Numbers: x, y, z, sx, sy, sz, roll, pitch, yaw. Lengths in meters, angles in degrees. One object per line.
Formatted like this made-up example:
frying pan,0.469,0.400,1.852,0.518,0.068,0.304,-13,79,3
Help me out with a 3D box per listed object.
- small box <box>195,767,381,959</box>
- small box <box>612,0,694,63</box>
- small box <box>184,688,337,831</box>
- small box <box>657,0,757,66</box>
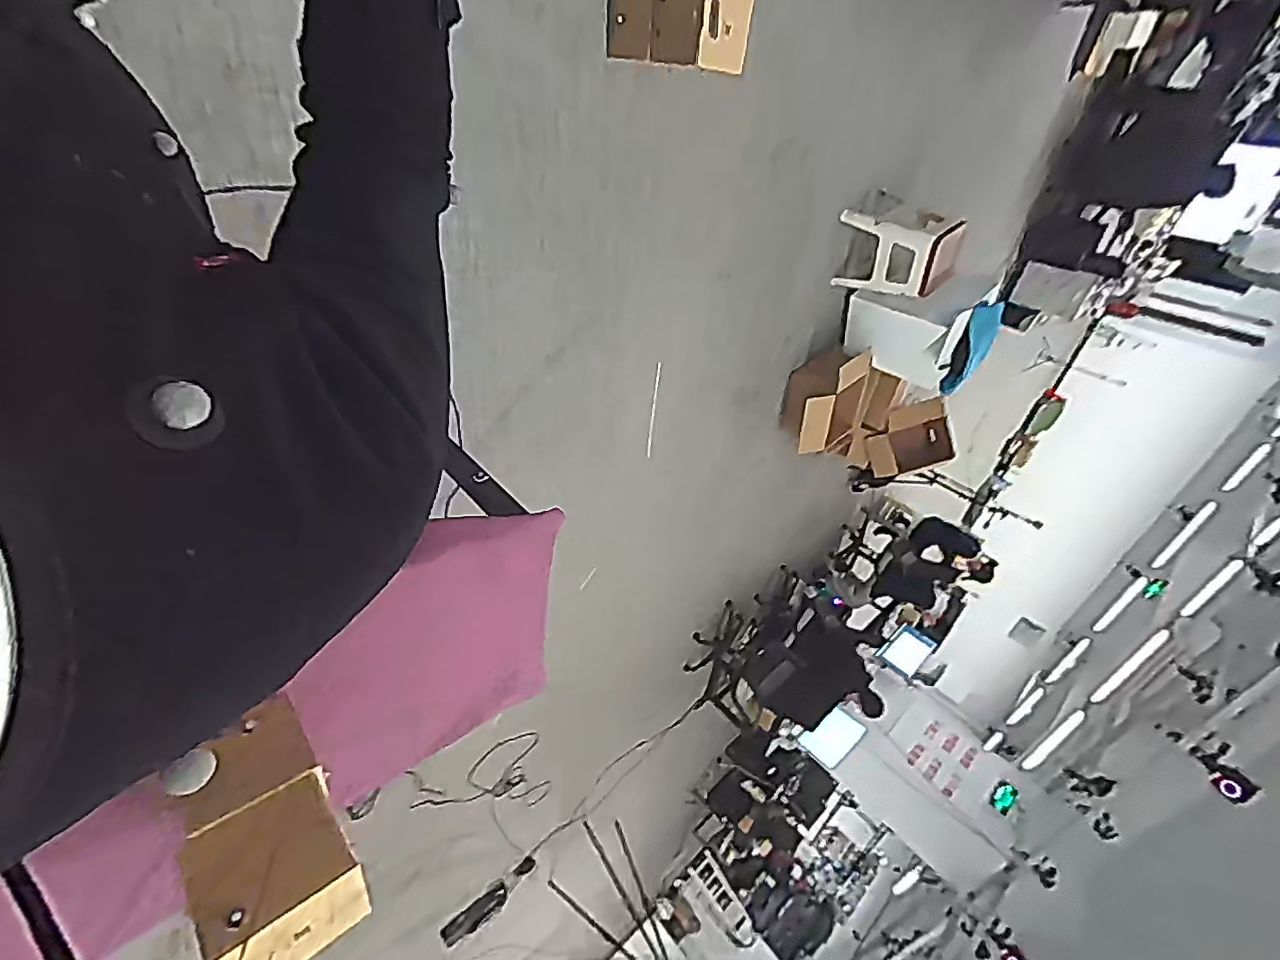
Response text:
small box,-0.505,0.565,0.786,0.179,0.176,0.168,-20,135,-39
small box,0.050,-1.220,1.426,0.179,0.176,0.168,-23,135,-36
small box,-0.607,0.480,0.879,0.168,0.176,0.179,-19,133,-40
small box,0.163,-1.139,1.338,0.179,0.176,0.168,-25,137,-36
